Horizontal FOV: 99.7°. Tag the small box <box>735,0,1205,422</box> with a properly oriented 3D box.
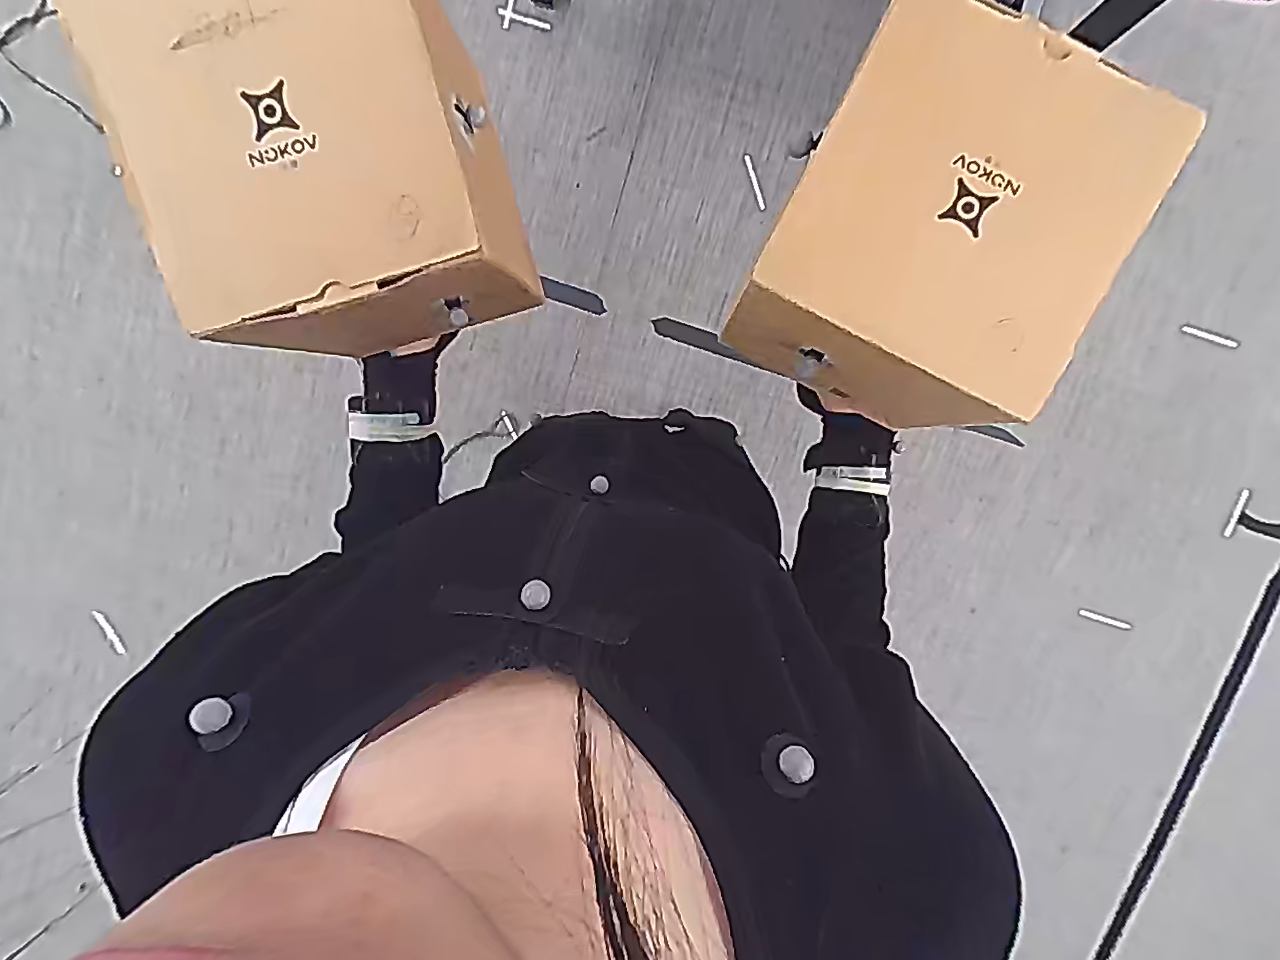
[{"bbox_3d":[0.174,-0.149,0.355,0.168,0.176,0.179,27,93,0],"label":"small box"}]

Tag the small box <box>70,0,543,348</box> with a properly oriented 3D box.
[{"bbox_3d":[-0.173,-0.190,0.345,0.168,0.176,0.179,-16,98,2],"label":"small box"}]
